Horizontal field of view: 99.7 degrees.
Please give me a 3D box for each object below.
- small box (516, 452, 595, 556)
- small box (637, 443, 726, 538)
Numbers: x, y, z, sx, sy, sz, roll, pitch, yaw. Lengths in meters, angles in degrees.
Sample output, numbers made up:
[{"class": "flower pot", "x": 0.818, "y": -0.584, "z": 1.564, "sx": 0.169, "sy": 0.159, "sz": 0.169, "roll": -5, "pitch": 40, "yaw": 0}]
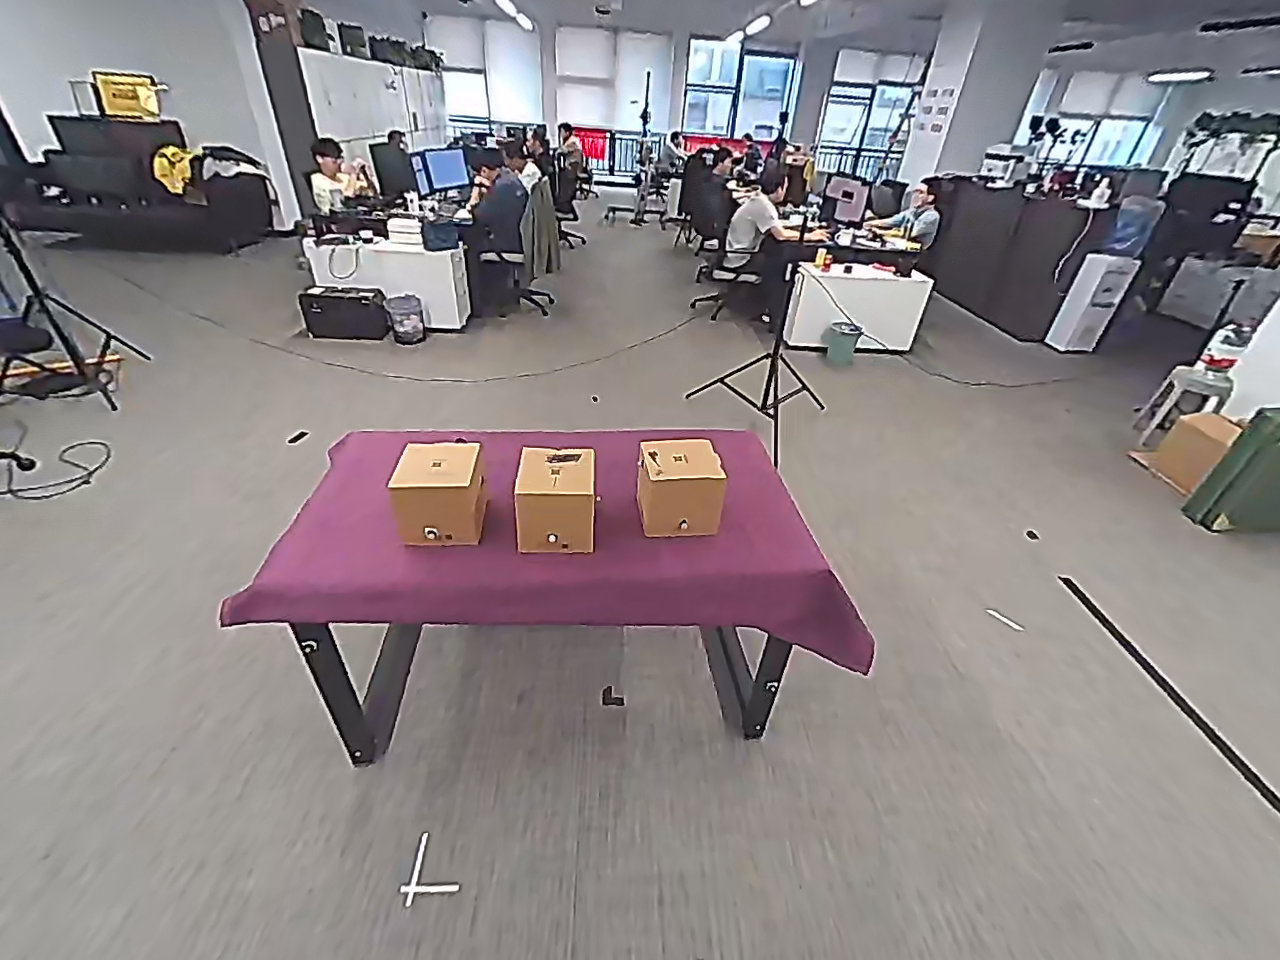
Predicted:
[{"class": "small box", "x": -0.187, "y": 0.053, "z": 1.235, "sx": 0.168, "sy": 0.176, "sz": 0.179, "roll": 0, "pitch": 35, "yaw": -5}, {"class": "small box", "x": 0.092, "y": 0.025, "z": 1.305, "sx": 0.179, "sy": 0.176, "sz": 0.168, "roll": -2, "pitch": 34, "yaw": -9}]
